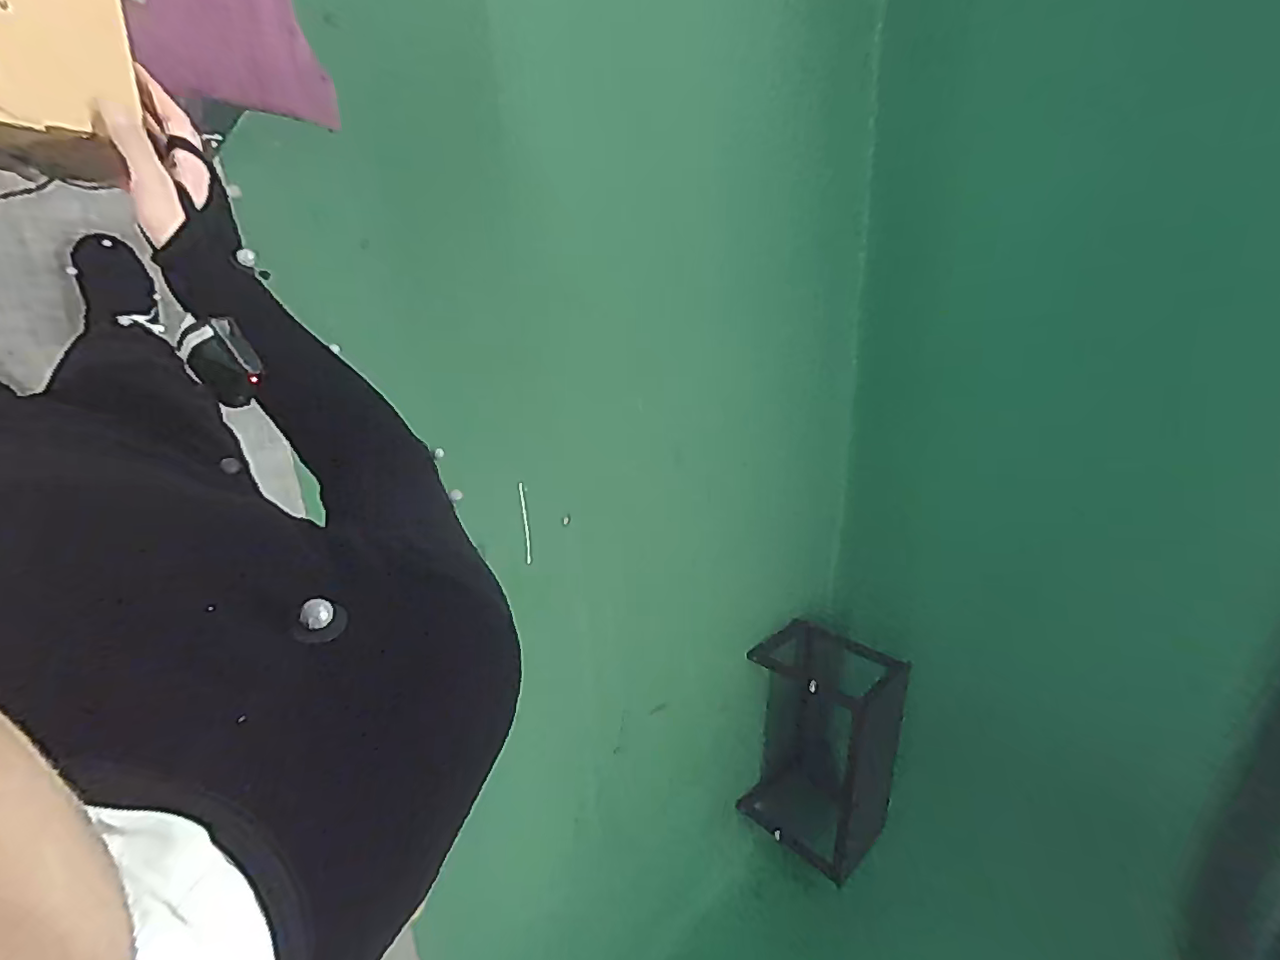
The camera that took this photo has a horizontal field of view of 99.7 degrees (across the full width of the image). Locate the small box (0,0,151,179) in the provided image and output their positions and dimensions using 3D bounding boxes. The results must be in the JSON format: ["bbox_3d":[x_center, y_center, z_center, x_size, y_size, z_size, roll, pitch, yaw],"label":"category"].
[{"bbox_3d":[-0.519,-0.370,0.434,0.168,0.176,0.179,-11,107,-40],"label":"small box"}]
